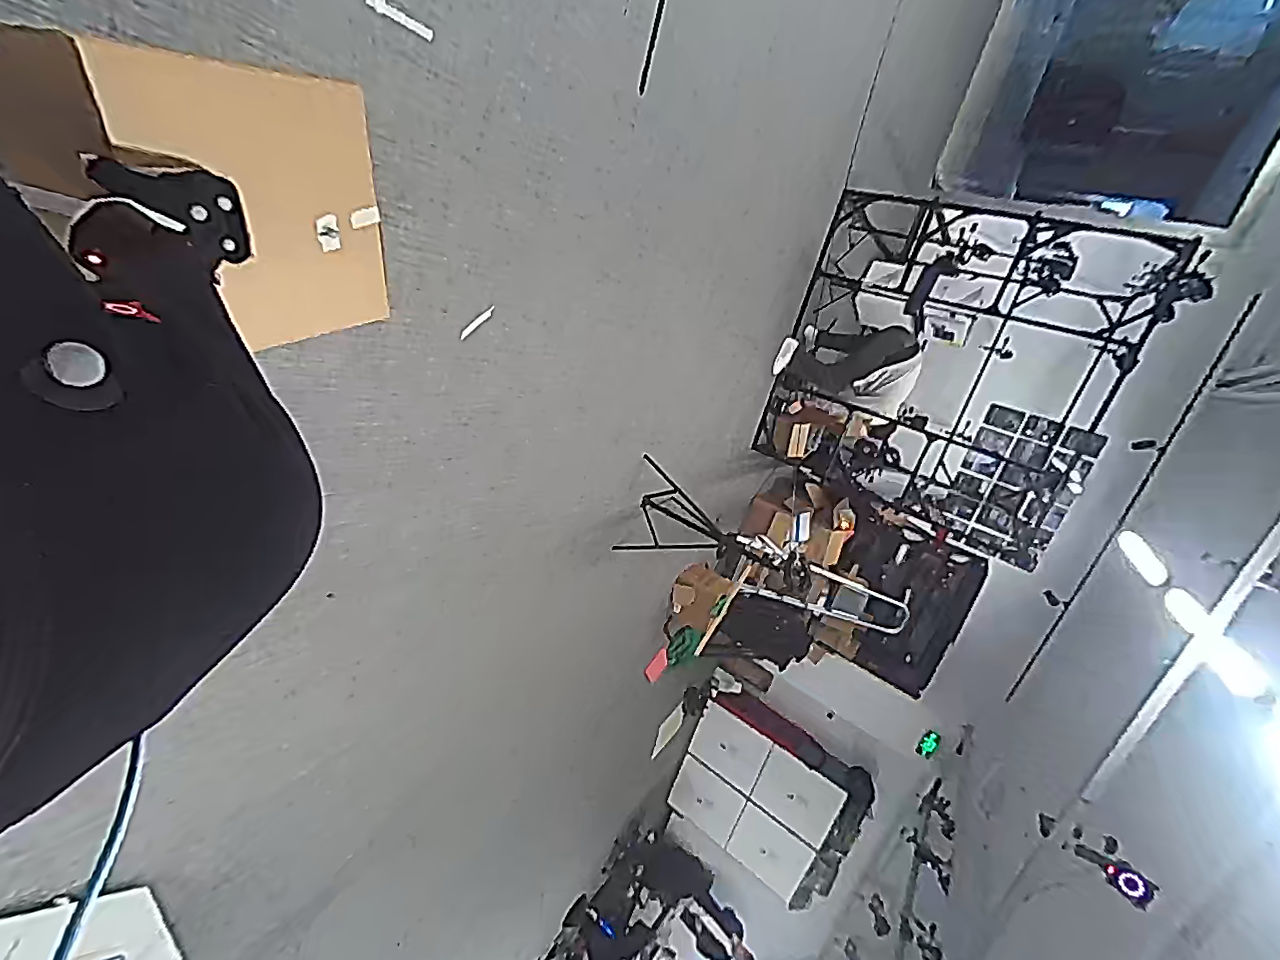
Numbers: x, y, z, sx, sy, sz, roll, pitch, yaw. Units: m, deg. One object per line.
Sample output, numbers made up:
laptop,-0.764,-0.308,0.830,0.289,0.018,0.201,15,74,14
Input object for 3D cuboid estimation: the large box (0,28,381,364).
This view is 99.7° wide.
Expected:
large box,-0.639,-0.391,0.736,0.320,0.408,0.320,-46,151,-52
